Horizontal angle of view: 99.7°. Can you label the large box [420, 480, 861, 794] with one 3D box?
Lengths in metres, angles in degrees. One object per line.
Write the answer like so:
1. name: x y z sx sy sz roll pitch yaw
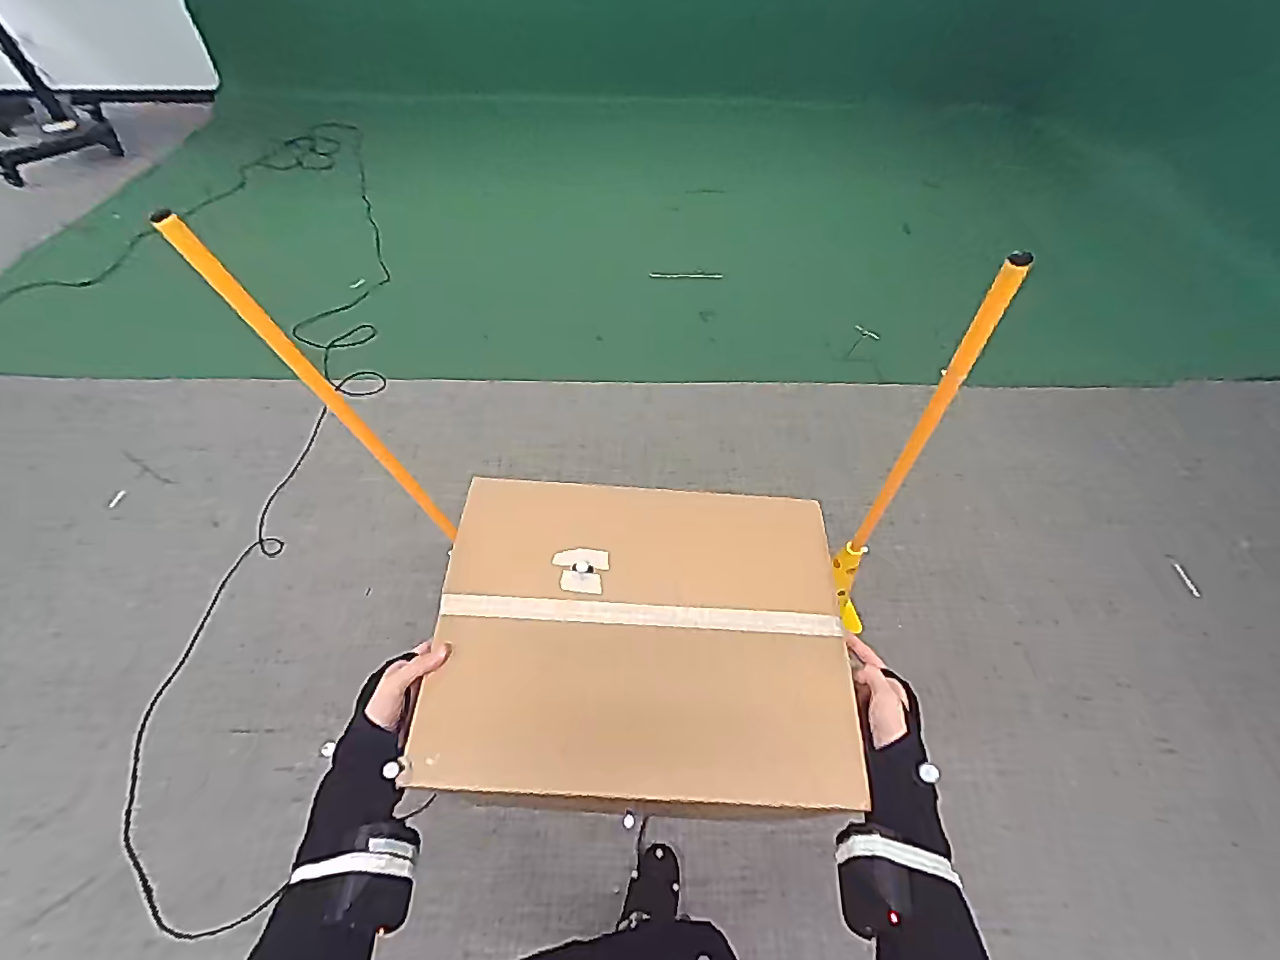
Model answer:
1. large box: 0.002 0.214 0.686 0.408 0.320 0.320 3 56 -1
